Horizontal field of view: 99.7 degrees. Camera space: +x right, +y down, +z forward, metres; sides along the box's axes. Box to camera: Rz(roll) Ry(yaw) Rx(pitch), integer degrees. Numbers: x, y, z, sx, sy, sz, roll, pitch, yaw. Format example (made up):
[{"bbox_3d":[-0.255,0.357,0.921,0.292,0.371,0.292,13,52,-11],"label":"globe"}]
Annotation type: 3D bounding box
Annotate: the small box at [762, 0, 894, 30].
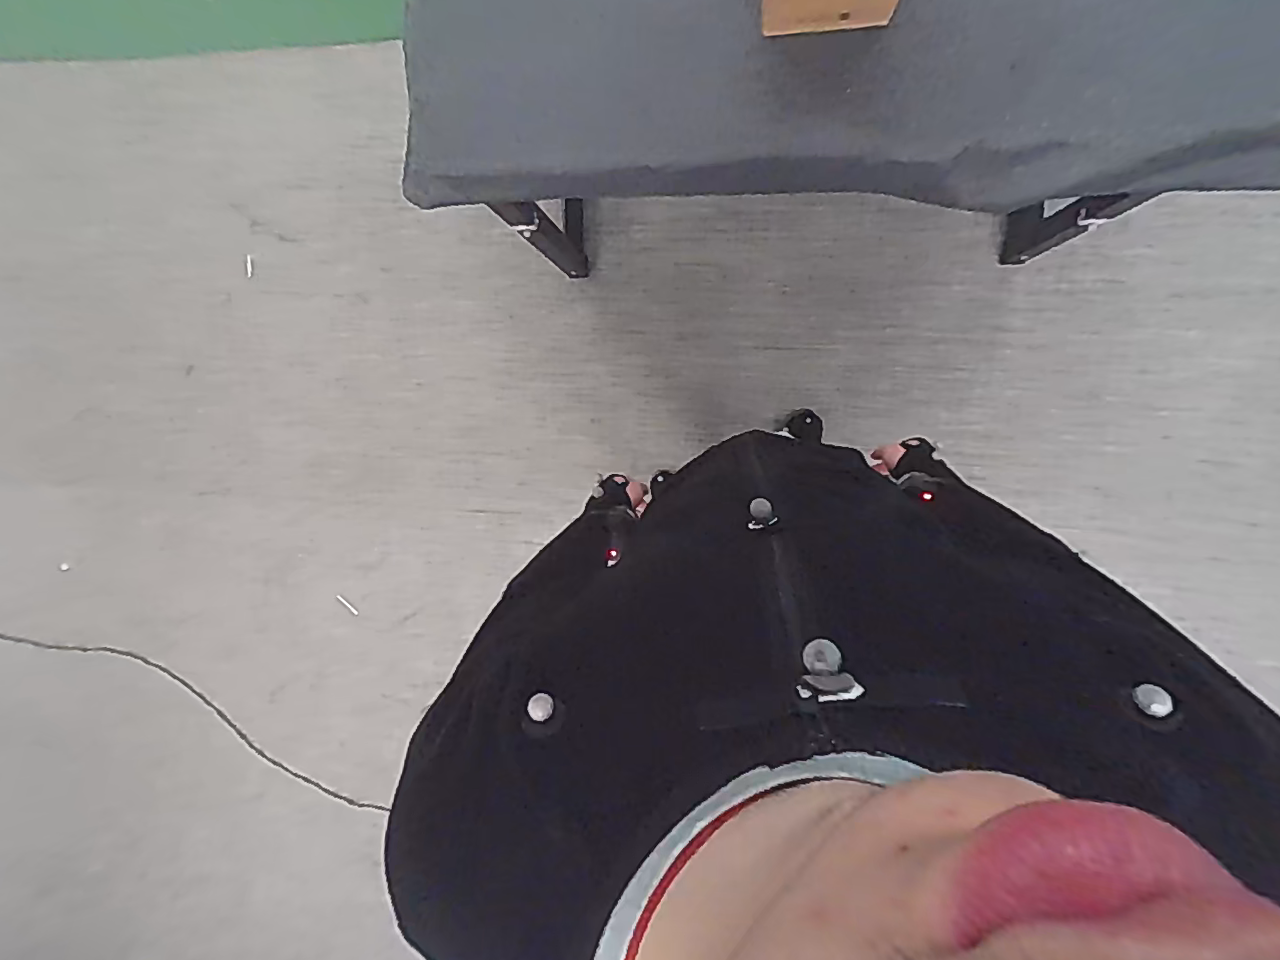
[{"bbox_3d":[0.237,-0.677,0.640,0.168,0.176,0.179,1,96,7],"label":"small box"}]
